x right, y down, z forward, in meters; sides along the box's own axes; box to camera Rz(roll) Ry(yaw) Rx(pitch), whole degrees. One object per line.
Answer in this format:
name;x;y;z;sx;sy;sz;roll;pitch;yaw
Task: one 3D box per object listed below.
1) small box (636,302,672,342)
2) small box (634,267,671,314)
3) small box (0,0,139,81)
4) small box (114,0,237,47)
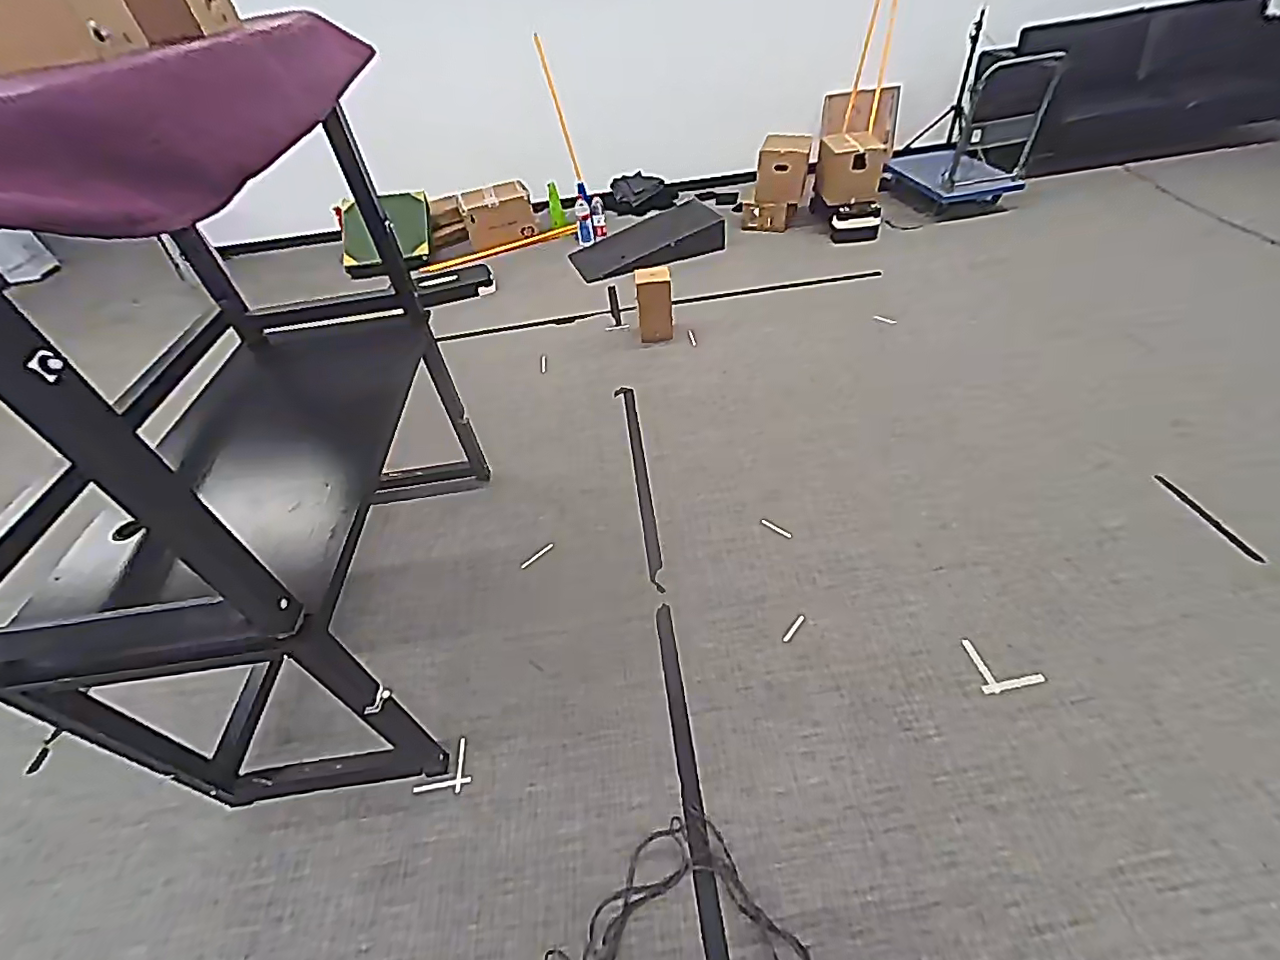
small box;0.075;-0.855;2.885;0.179;0.176;0.168;-7;45;-1
small box;0.066;-0.969;2.768;0.179;0.176;0.168;-6;44;2
small box;-0.920;-0.721;0.805;0.179;0.176;0.168;-13;45;-3
small box;-0.941;-0.955;1.040;0.179;0.176;0.168;-6;45;2
